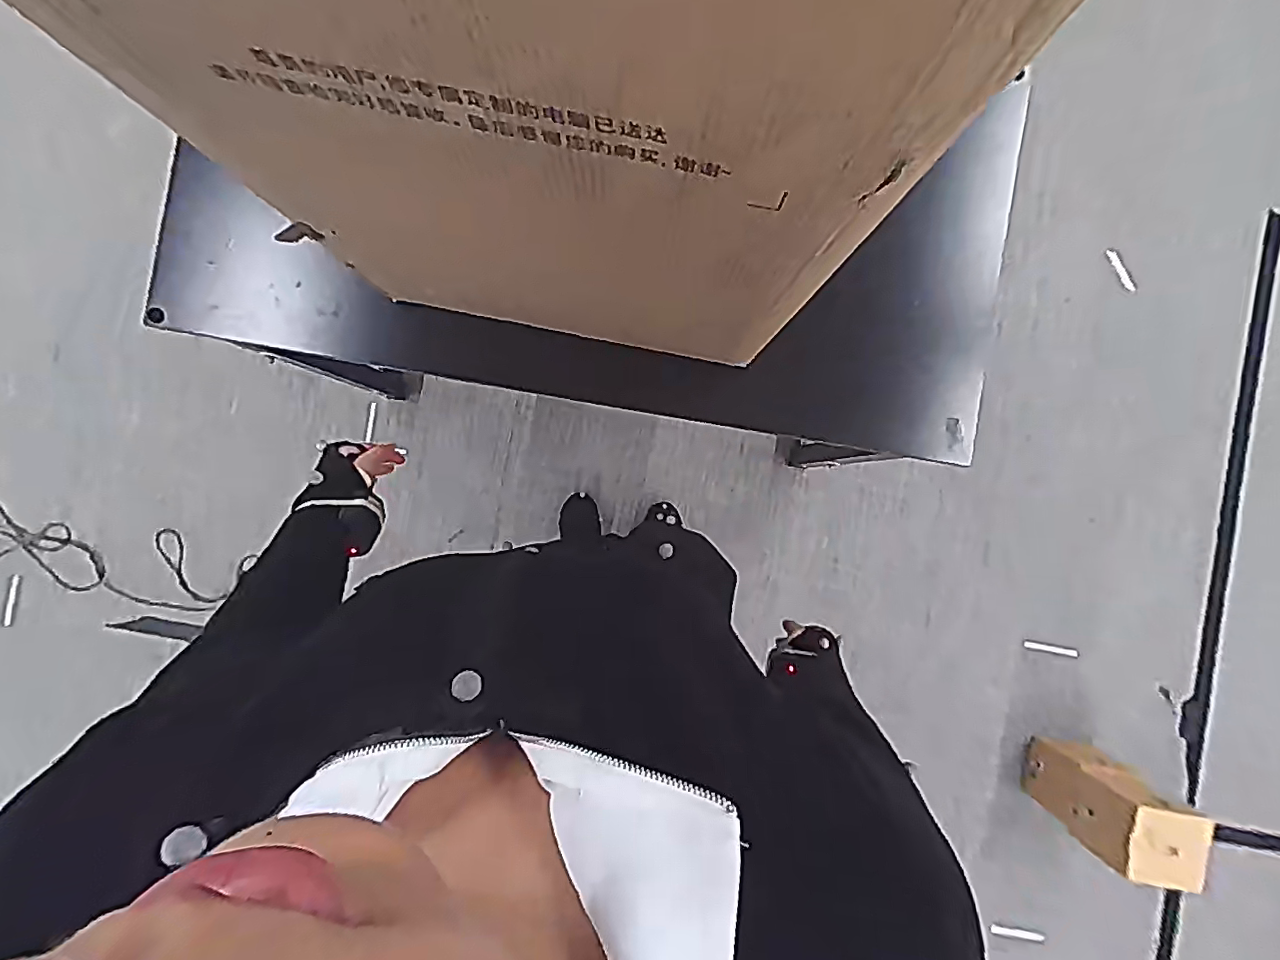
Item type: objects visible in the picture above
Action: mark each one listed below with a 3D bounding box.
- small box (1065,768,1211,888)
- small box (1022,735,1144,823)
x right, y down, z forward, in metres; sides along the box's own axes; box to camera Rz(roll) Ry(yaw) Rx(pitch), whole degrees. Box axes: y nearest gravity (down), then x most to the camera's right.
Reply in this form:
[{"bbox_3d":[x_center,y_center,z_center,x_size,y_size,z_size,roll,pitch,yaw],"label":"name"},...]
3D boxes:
[{"bbox_3d":[1.162,0.809,1.273,0.179,0.176,0.168,11,88,-1],"label":"small box"},{"bbox_3d":[1.170,0.805,1.438,0.179,0.176,0.168,10,89,0],"label":"small box"}]
